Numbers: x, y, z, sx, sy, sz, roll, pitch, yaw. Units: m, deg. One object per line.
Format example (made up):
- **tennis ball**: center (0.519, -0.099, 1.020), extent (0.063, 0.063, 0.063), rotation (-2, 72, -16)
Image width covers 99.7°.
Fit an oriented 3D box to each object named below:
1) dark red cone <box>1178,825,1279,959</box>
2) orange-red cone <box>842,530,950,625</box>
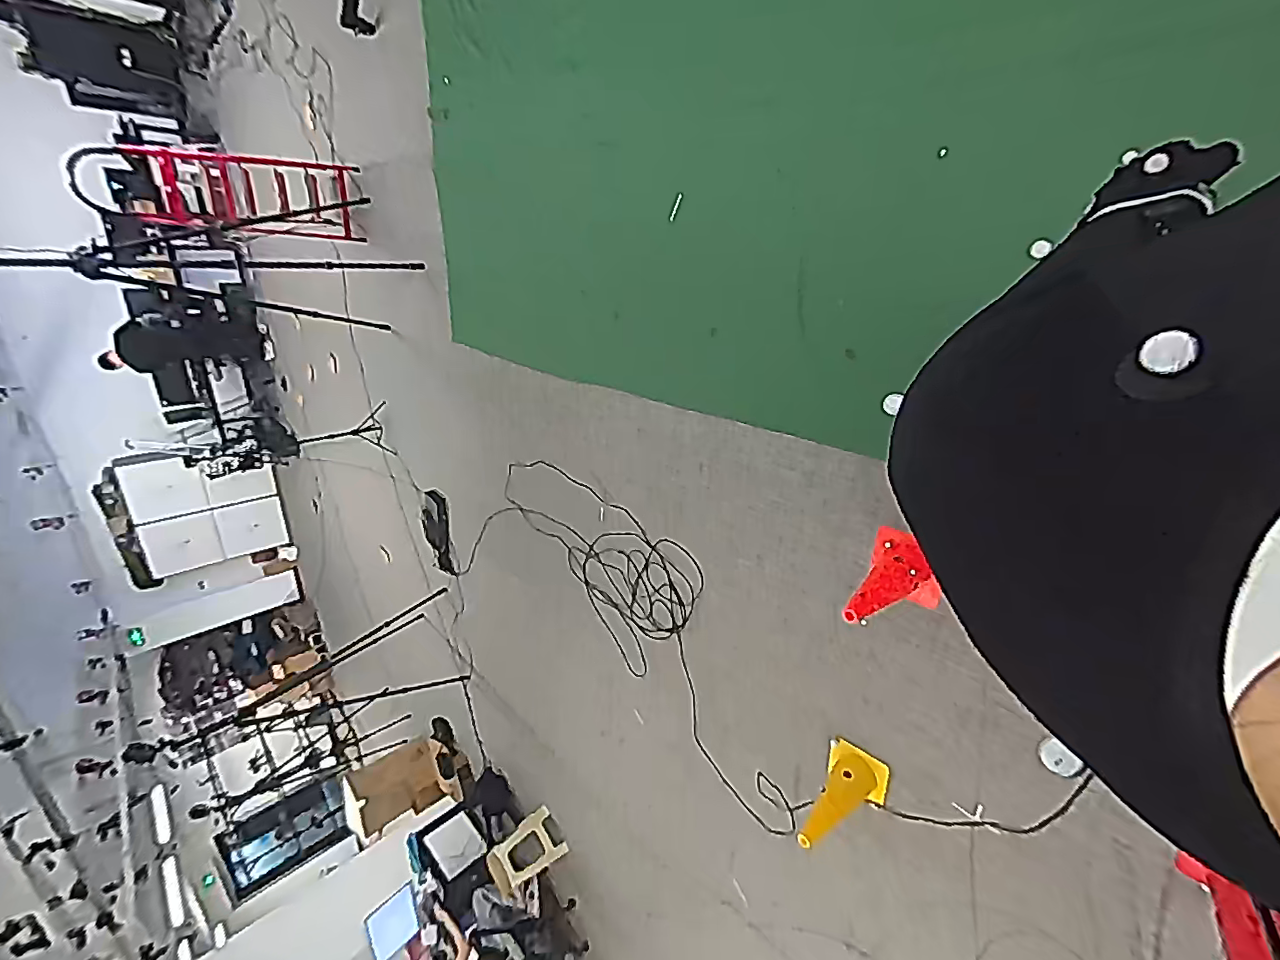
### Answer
- **dark red cone**: center (1.177, 0.893, 1.040), extent (0.202, 0.394, 0.201), rotation (16, 114, 44)
- **orange-red cone**: center (0.647, 0.299, 1.444), extent (0.198, 0.360, 0.199), rotation (23, 121, 42)
